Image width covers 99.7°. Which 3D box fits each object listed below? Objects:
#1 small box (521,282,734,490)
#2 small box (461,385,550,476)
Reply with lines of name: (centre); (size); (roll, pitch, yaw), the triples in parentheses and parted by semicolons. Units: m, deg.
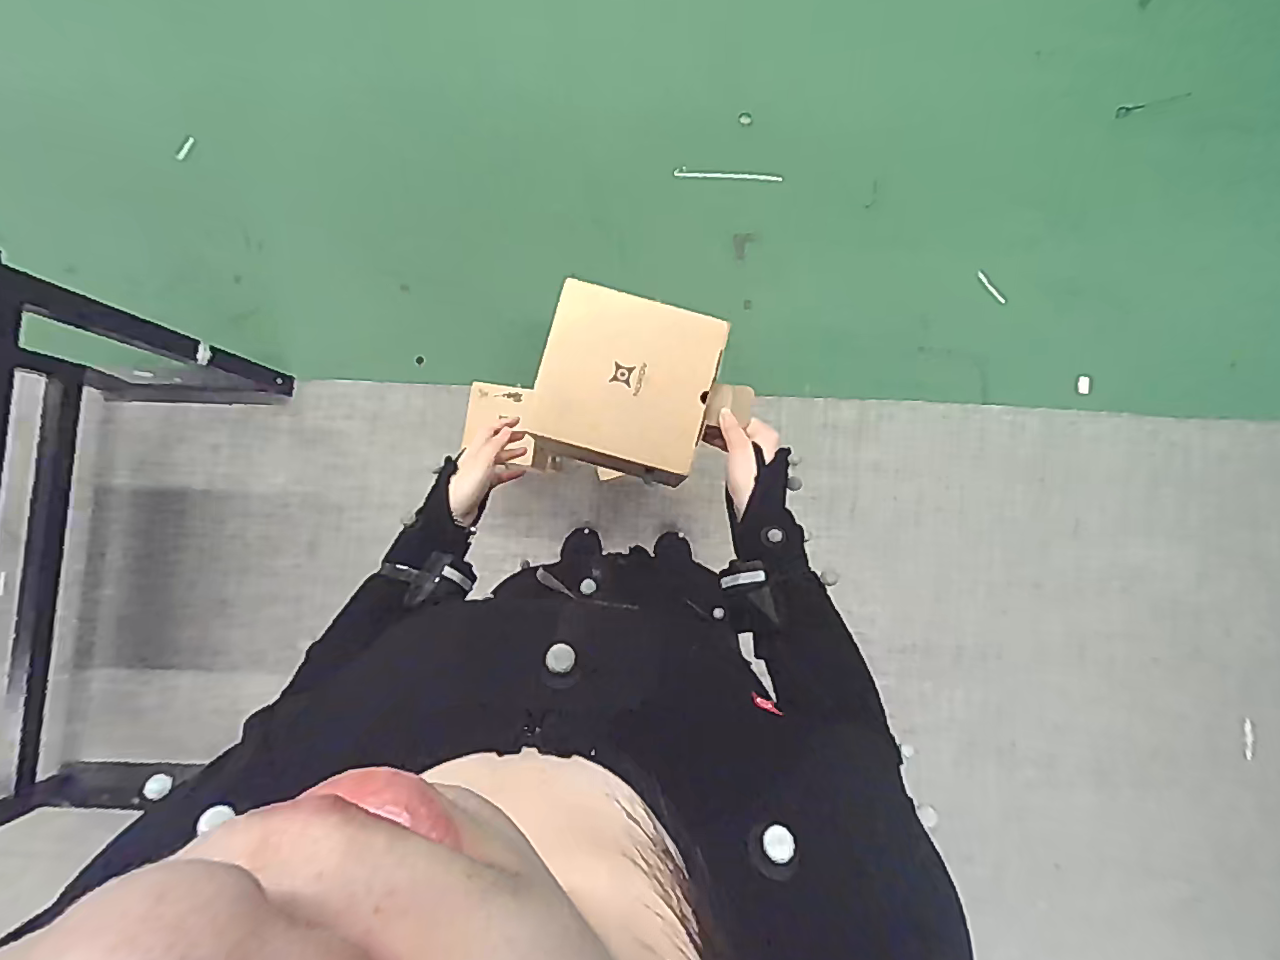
small box: (-0.013, -0.090, 0.610); (0.179, 0.176, 0.168); (16, 85, 0)
small box: (-0.301, -0.109, 1.277); (0.168, 0.176, 0.179); (9, 86, 3)
